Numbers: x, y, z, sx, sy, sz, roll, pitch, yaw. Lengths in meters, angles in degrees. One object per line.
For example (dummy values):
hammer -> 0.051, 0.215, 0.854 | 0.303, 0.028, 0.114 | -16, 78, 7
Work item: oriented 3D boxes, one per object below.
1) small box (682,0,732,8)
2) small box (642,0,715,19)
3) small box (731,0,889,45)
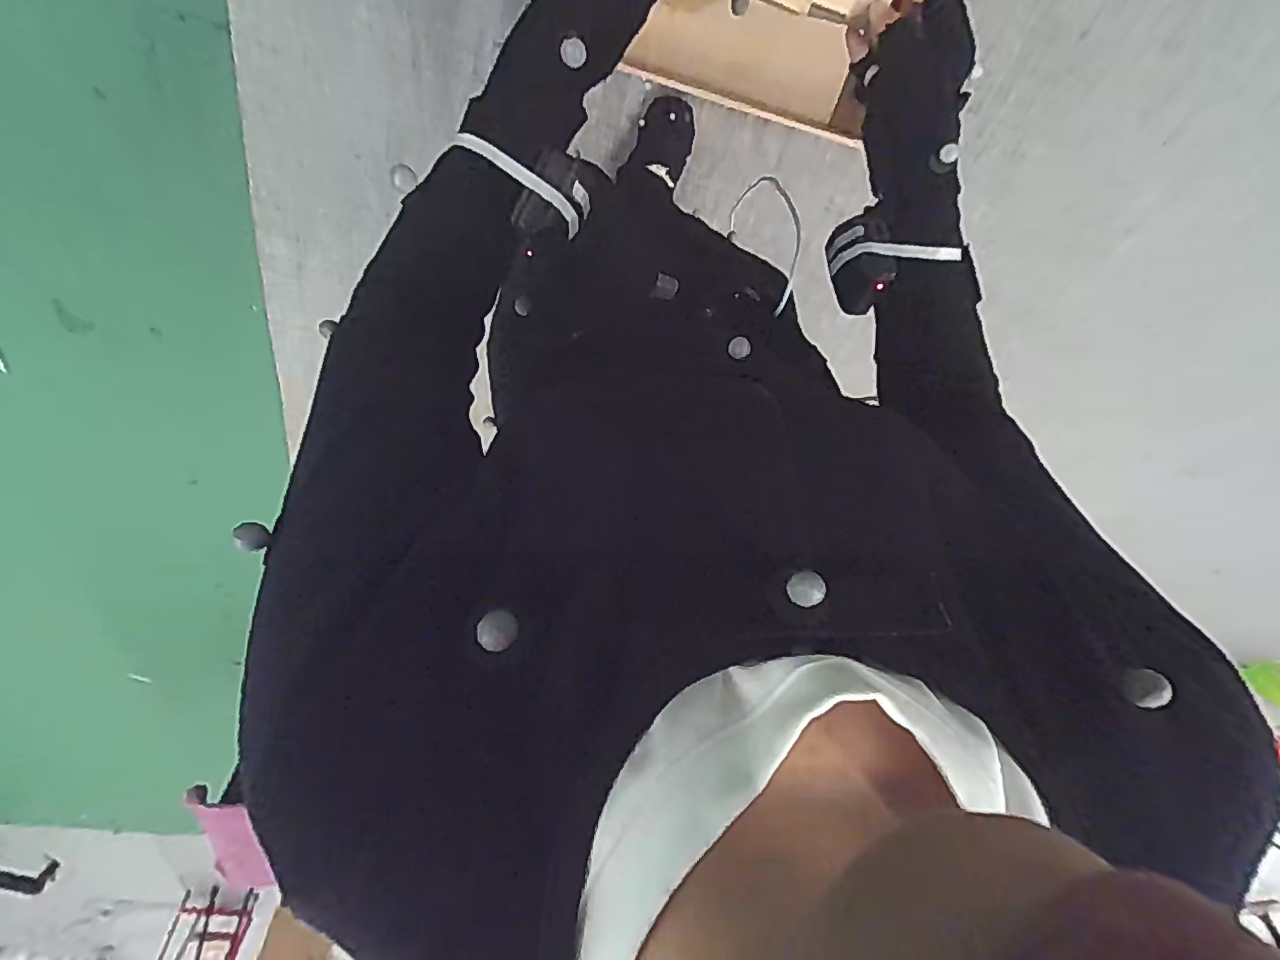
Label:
small box -> 0.069, -0.781, 0.733 | 0.168, 0.176, 0.179 | 9, 126, -11
small box -> 0.057, -0.878, 0.864 | 0.168, 0.176, 0.179 | 10, 126, -12
small box -> 0.108, -0.451, 0.382 | 0.168, 0.176, 0.179 | 8, 129, -20
